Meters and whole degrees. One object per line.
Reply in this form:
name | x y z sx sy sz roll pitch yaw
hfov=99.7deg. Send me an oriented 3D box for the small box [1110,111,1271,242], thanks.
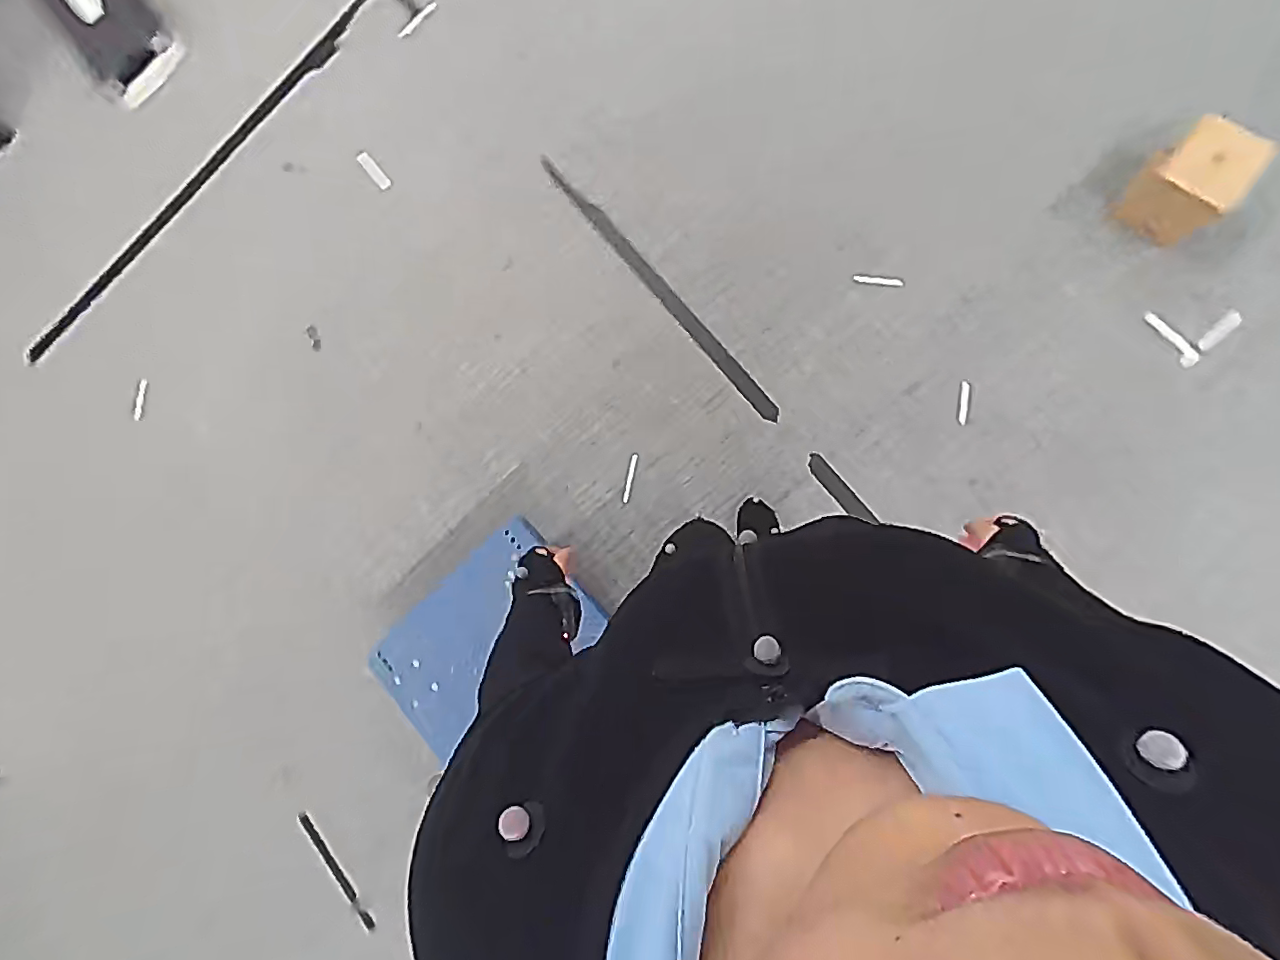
small box | 1.291 -0.712 1.287 0.168 0.176 0.179 37 93 9
